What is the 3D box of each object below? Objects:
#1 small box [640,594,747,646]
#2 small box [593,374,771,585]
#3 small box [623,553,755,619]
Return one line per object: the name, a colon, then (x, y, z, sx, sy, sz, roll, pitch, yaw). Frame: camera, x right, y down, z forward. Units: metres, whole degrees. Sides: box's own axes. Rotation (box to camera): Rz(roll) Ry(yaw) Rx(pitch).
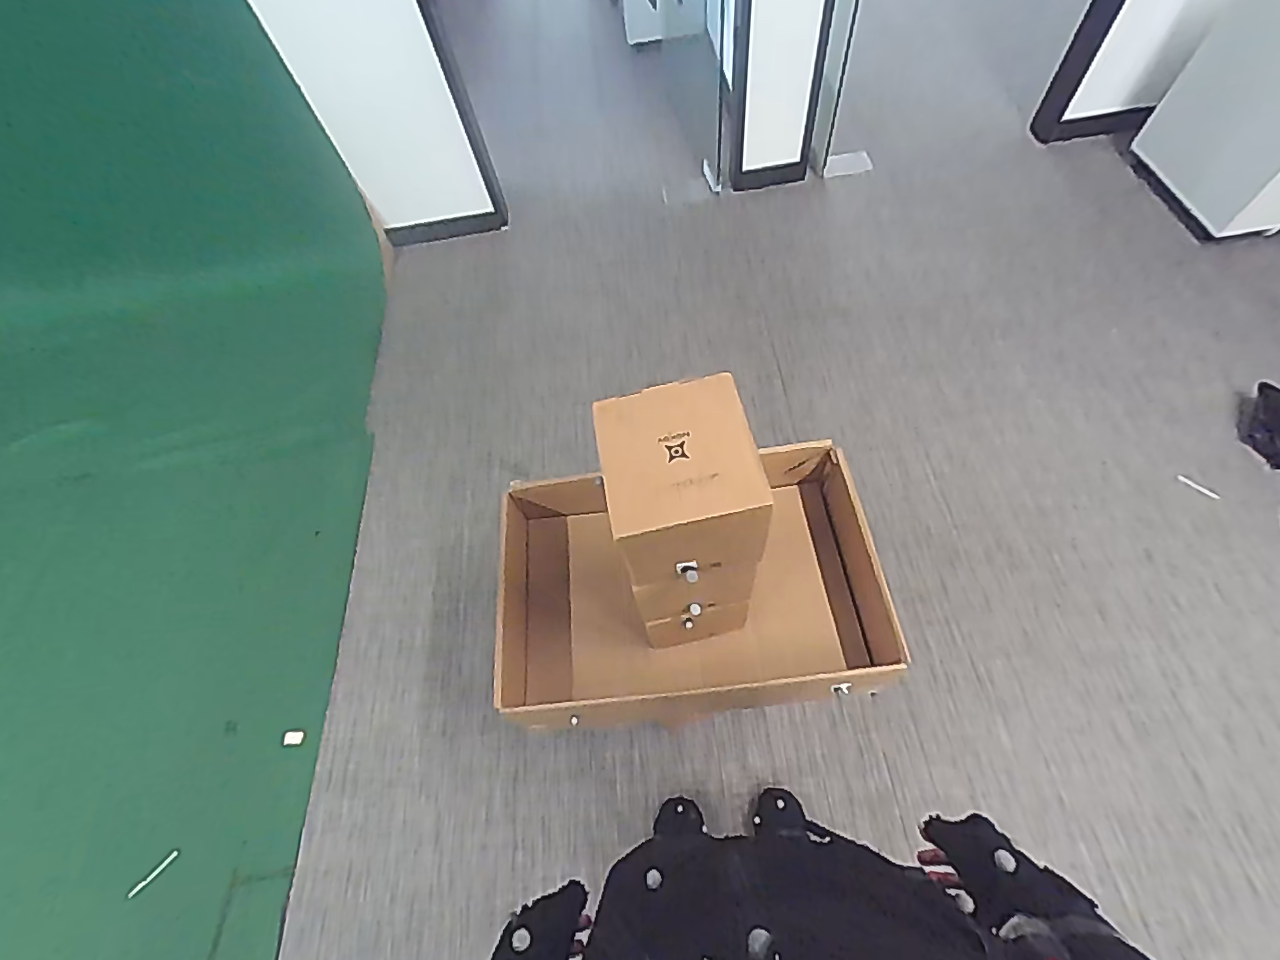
small box: (0.078, 0.166, 0.931, 0.168, 0.176, 0.179, -14, 59, 1)
small box: (0.048, 0.006, 0.649, 0.168, 0.176, 0.179, -13, 61, 2)
small box: (0.060, 0.084, 0.790, 0.168, 0.176, 0.179, -13, 61, 1)
